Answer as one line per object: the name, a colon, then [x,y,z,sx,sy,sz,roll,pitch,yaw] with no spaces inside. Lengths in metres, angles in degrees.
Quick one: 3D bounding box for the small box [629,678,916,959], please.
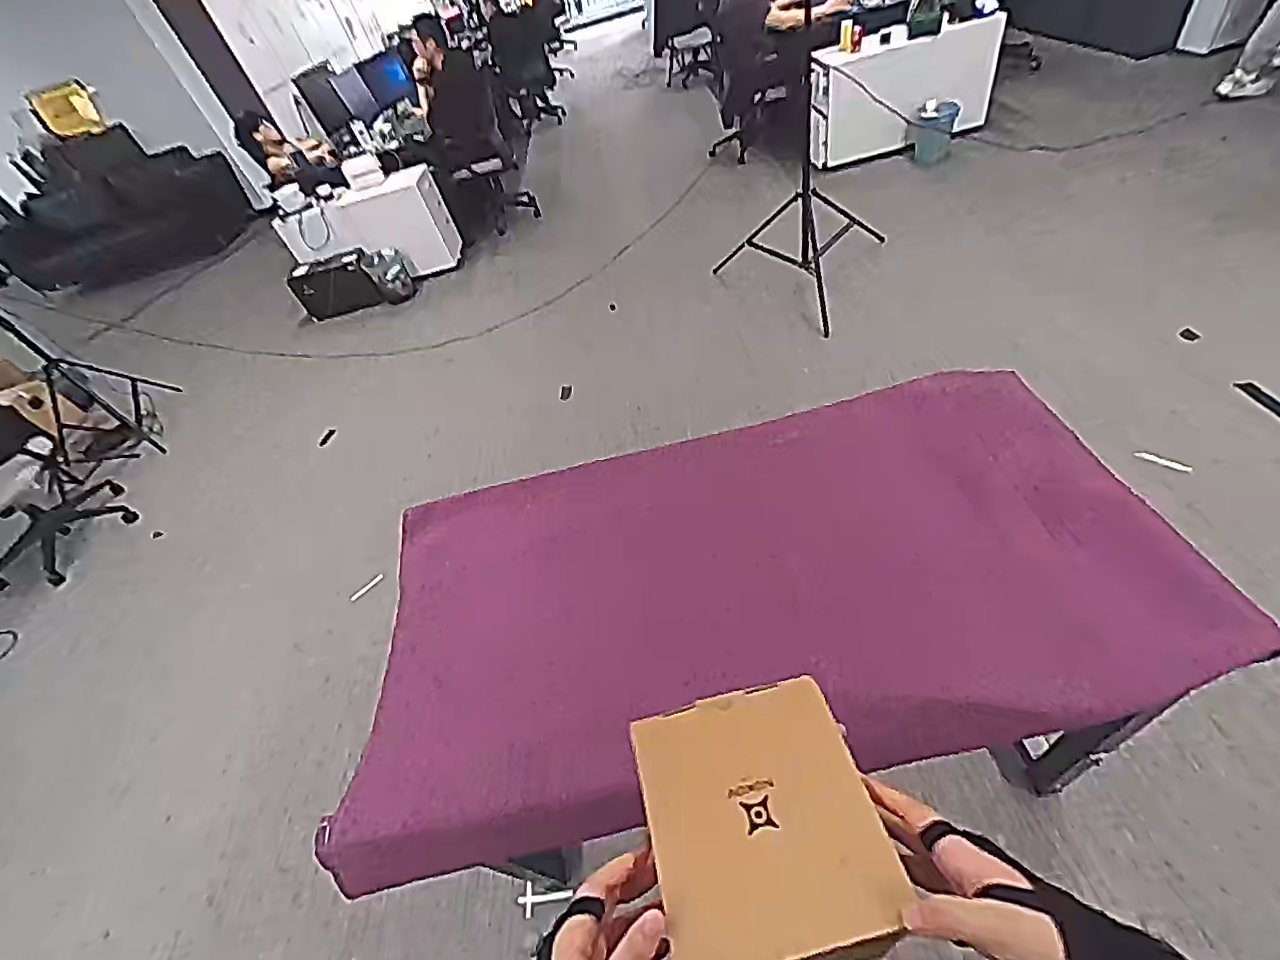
small box: [0.098,0.306,0.459,0.168,0.176,0.179,-15,41,-3]
